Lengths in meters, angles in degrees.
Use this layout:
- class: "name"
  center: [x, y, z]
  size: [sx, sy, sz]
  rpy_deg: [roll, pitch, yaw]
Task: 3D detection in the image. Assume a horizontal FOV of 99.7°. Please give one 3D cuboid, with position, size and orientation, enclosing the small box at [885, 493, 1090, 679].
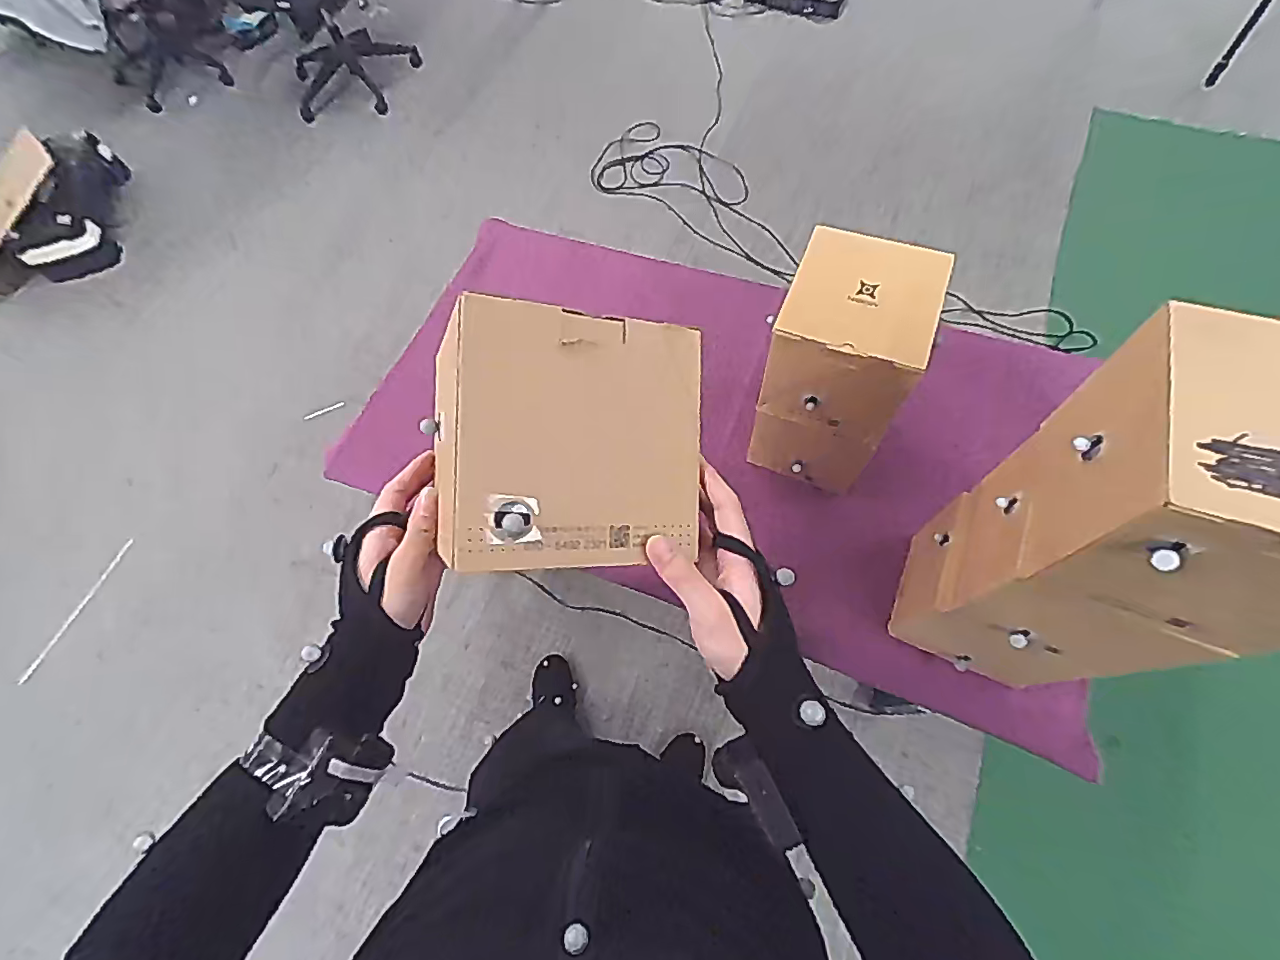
- class: "small box"
  center: [0.453, 0.146, 0.707]
  size: [0.179, 0.176, 0.168]
  rpy_deg: [22, 68, 15]

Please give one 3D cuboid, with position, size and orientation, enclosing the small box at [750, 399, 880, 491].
- class: "small box"
  center: [0.280, -0.112, 0.837]
  size: [0.168, 0.176, 0.179]
  rpy_deg: [23, 70, 14]

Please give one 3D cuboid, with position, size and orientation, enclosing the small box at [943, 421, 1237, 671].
- class: "small box"
  center: [0.445, 0.075, 0.559]
  size: [0.168, 0.176, 0.179]
  rpy_deg: [22, 69, 16]

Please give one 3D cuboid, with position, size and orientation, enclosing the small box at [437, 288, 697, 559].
- class: "small box"
  center: [-0.067, -0.029, 0.427]
  size: [0.168, 0.179, 0.176]
  rpy_deg: [2, 88, -24]

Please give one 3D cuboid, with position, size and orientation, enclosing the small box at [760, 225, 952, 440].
- class: "small box"
  center: [0.263, -0.181, 0.691]
  size: [0.168, 0.176, 0.179]
  rpy_deg: [20, 70, 12]
